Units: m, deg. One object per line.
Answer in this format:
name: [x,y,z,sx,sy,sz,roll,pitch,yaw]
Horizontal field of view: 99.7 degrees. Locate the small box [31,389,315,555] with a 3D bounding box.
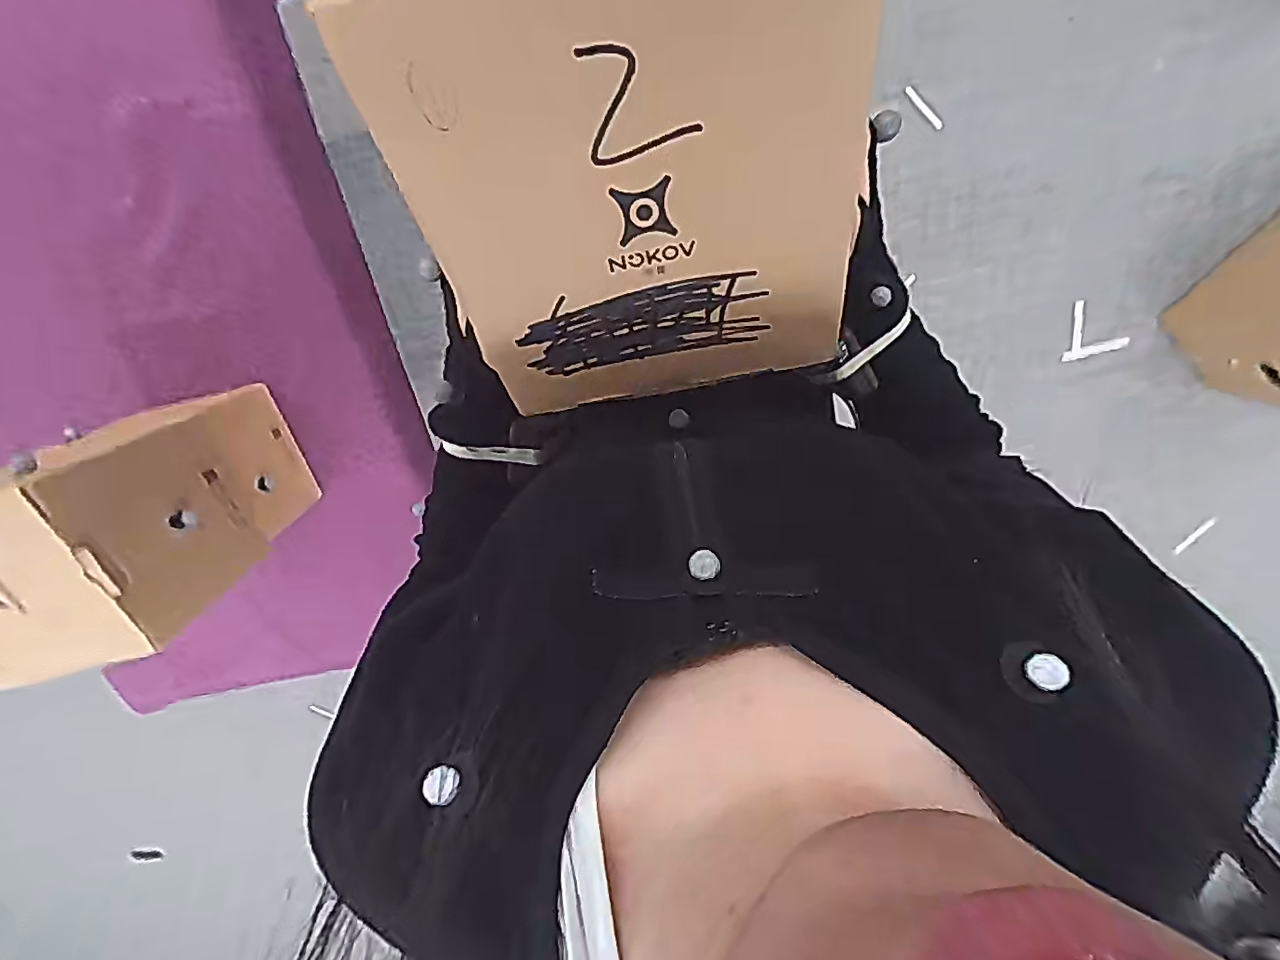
small box: [-0.539,-0.001,0.664,0.179,0.176,0.168,-13,114,4]

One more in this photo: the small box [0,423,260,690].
small box: [-0.509,0.061,0.512,0.179,0.176,0.168,-14,114,4]
